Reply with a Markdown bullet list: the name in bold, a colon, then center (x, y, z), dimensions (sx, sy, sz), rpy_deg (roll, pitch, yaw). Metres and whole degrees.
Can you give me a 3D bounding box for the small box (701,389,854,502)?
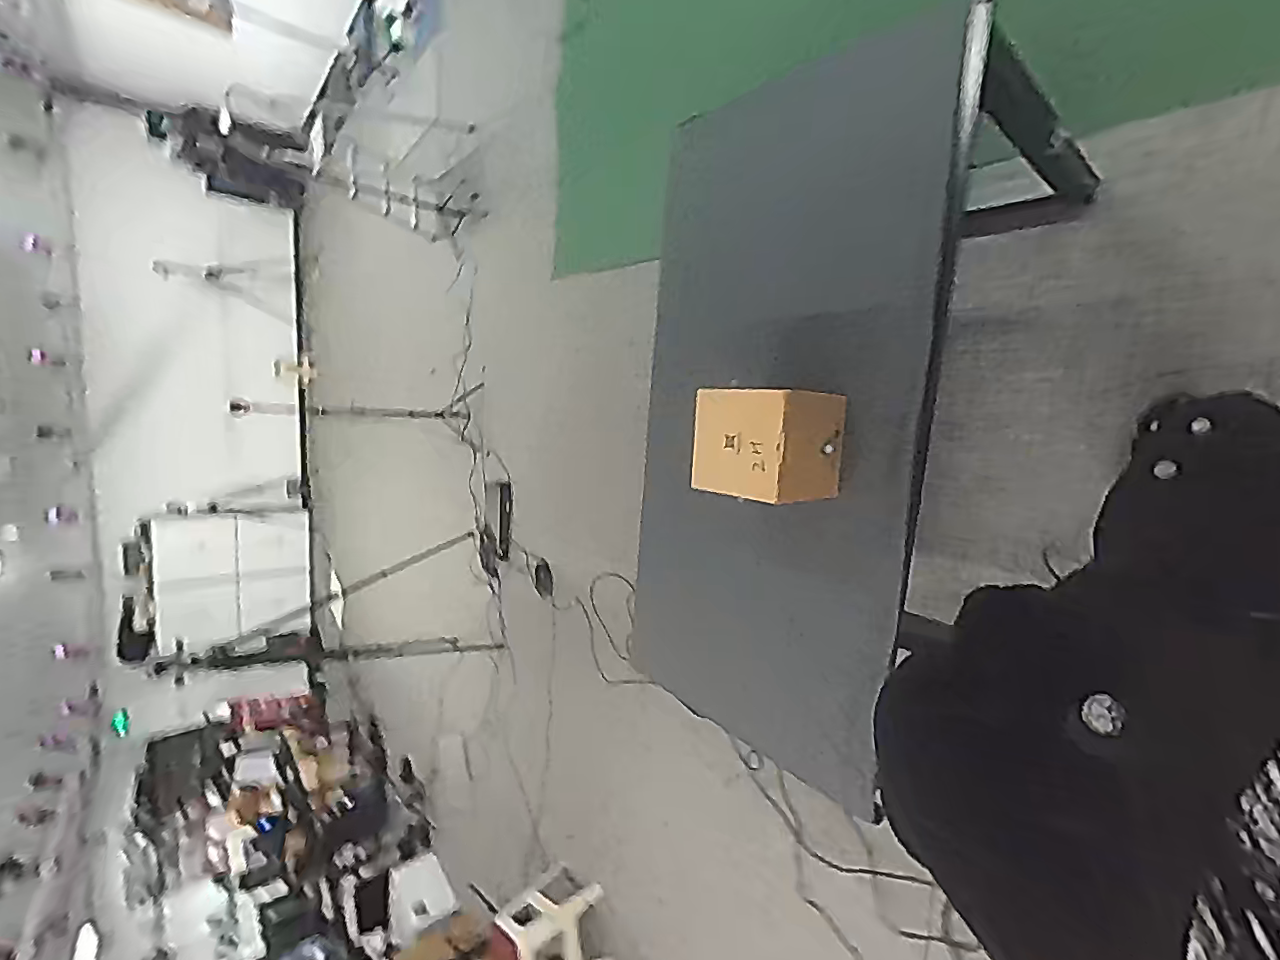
- **small box**: center (0.223, -0.061, 0.888), dimensions (0.179, 0.176, 0.168), rpy_deg (10, 101, 50)
